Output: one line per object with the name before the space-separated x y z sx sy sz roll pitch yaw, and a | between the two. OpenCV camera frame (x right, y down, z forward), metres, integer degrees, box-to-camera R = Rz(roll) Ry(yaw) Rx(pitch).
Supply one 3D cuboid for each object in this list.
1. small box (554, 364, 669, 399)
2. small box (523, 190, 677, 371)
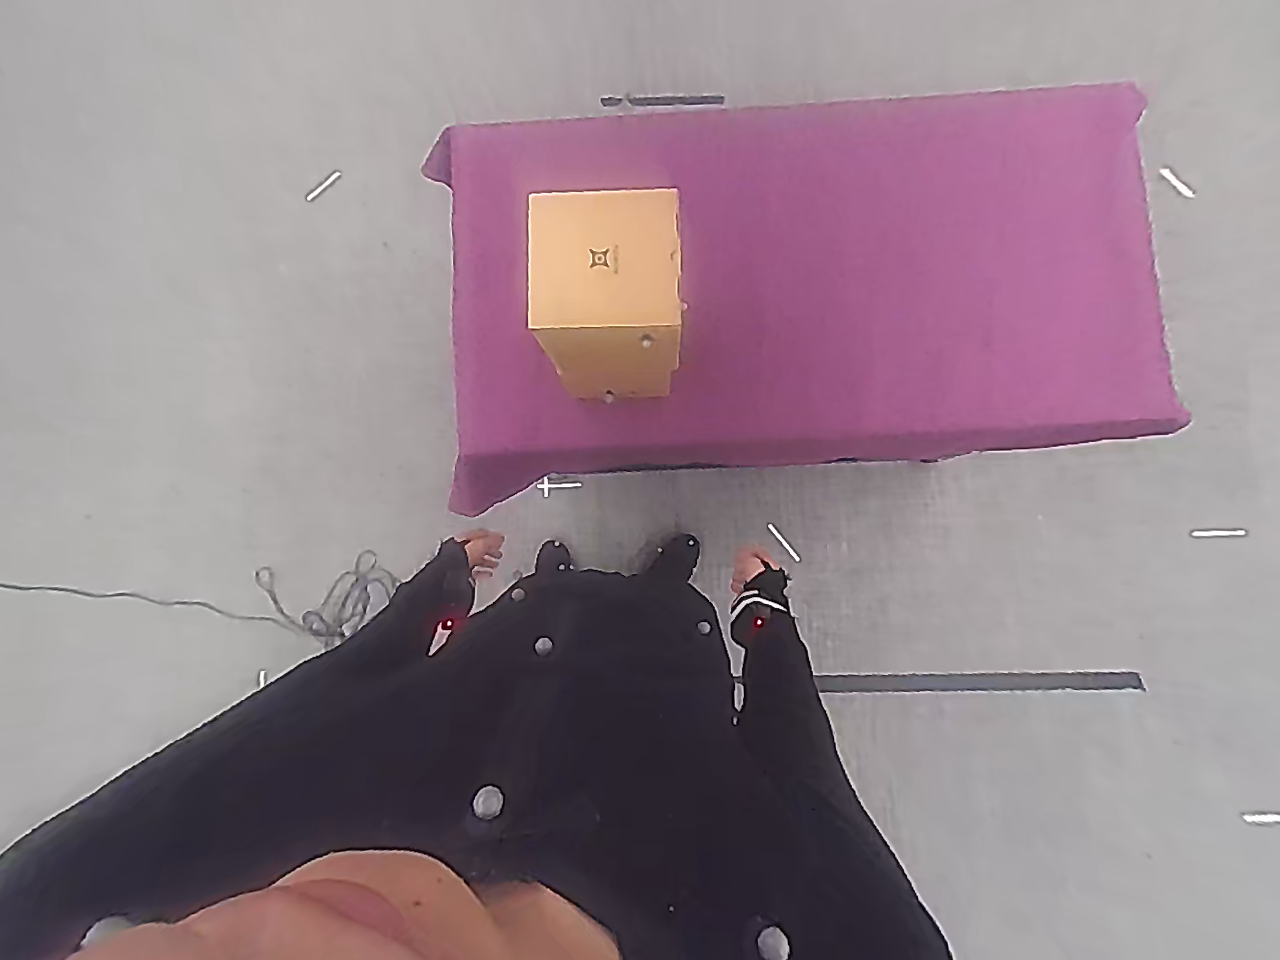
small box | -0.040 -0.234 0.854 0.168 0.176 0.179 -1 86 2
small box | -0.042 -0.241 0.692 0.179 0.176 0.168 -1 85 2
